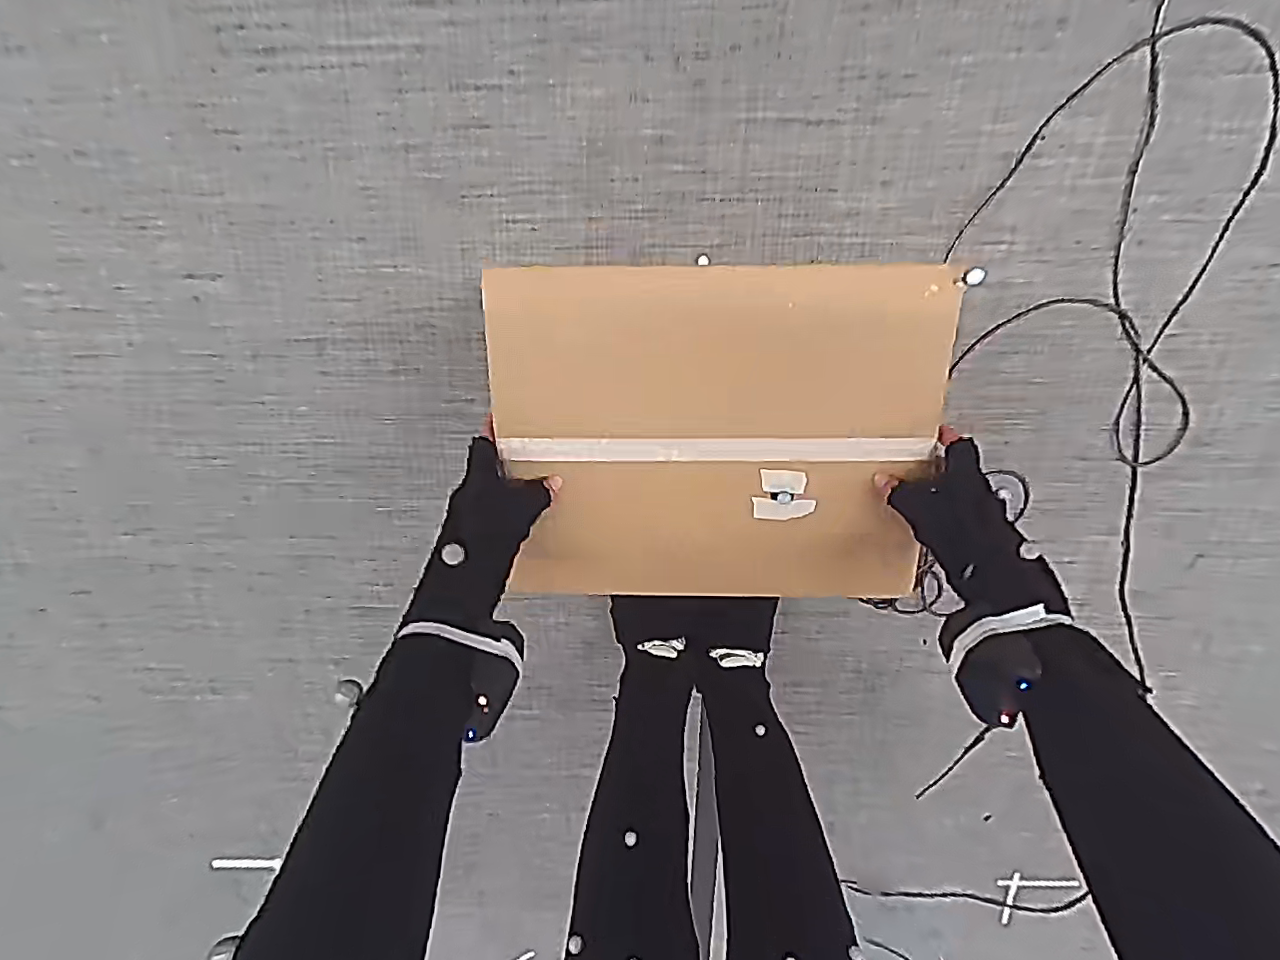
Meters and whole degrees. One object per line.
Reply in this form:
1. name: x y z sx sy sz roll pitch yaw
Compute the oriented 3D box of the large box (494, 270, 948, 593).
1. large box: 0.074 -0.075 0.657 0.408 0.320 0.320 0 109 2
